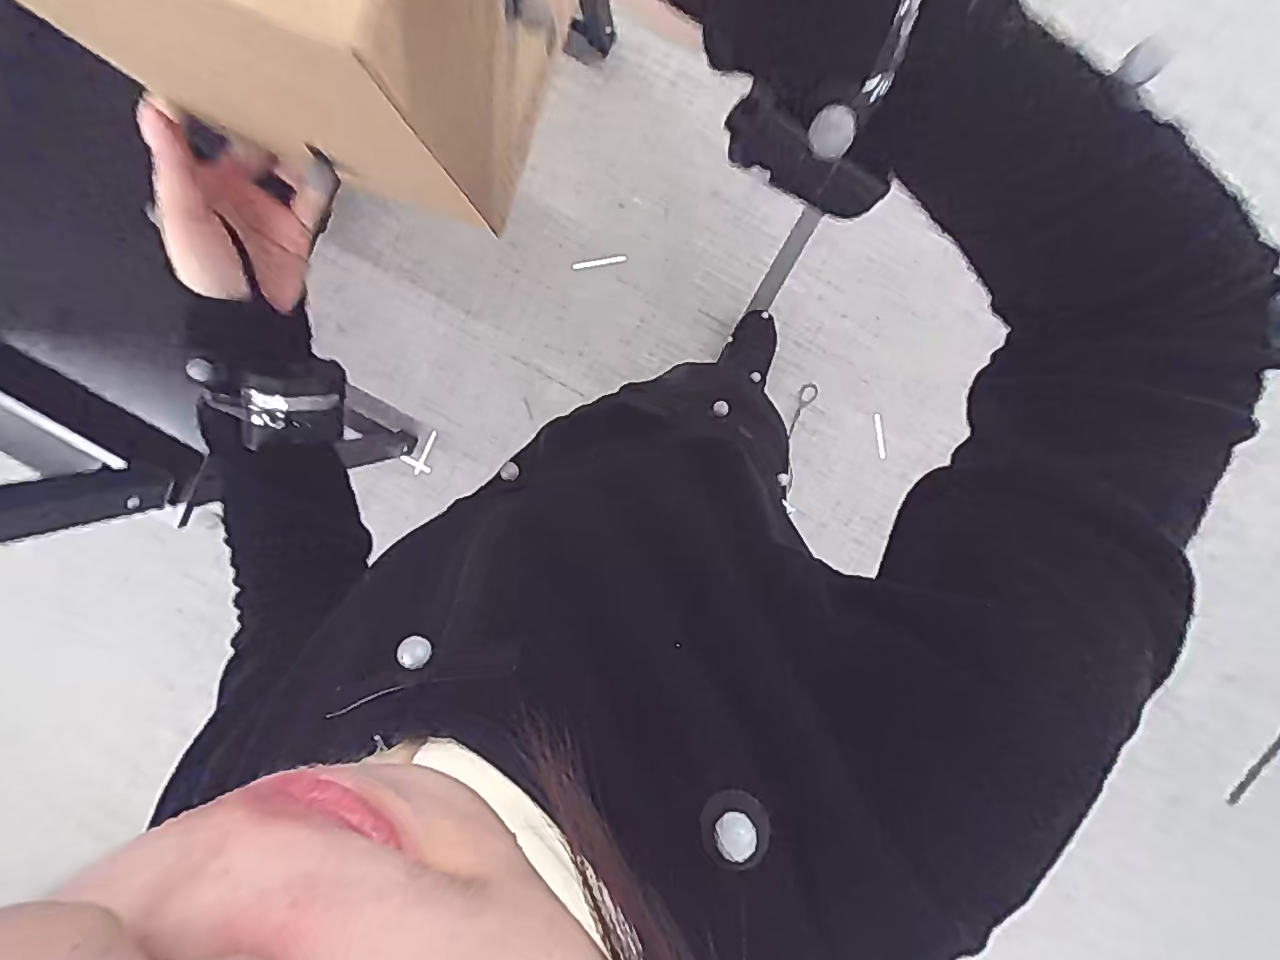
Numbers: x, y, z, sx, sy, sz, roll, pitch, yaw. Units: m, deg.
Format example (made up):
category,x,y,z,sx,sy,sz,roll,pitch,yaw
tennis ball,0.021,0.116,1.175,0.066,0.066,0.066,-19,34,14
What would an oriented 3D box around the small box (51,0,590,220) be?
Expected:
category,x,y,z,sx,sy,sz,roll,pitch,yaw
small box,-0.126,-0.240,0.234,0.179,0.176,0.168,20,95,-2
